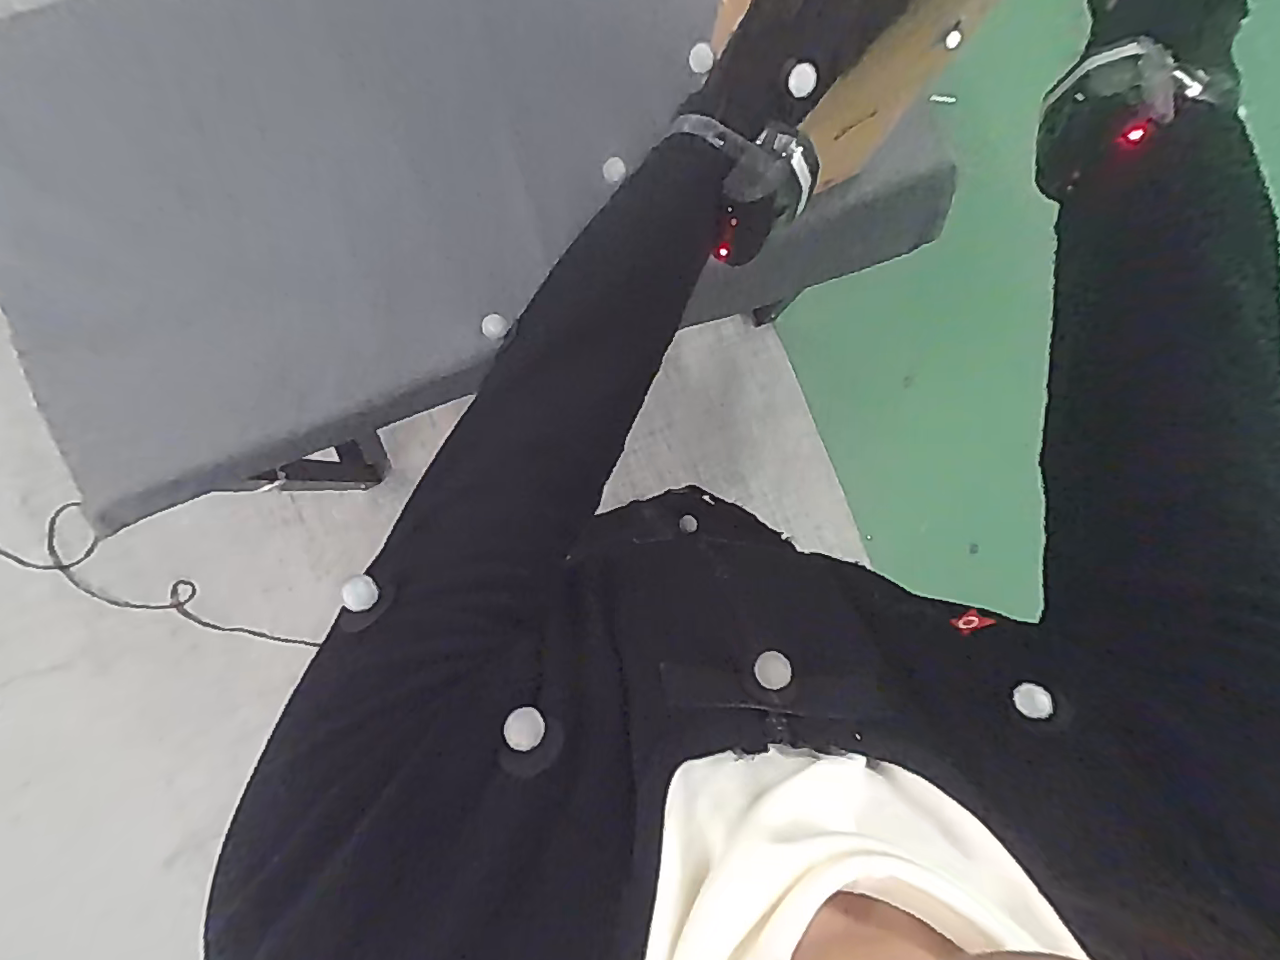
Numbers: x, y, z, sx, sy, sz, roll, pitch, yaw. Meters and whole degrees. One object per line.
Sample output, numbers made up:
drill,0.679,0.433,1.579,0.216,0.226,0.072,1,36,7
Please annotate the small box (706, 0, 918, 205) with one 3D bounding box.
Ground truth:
small box,0.198,-0.469,0.655,0.168,0.176,0.179,-27,89,-3

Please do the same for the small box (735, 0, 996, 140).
small box,0.208,-0.463,0.494,0.179,0.176,0.168,-25,89,-2
